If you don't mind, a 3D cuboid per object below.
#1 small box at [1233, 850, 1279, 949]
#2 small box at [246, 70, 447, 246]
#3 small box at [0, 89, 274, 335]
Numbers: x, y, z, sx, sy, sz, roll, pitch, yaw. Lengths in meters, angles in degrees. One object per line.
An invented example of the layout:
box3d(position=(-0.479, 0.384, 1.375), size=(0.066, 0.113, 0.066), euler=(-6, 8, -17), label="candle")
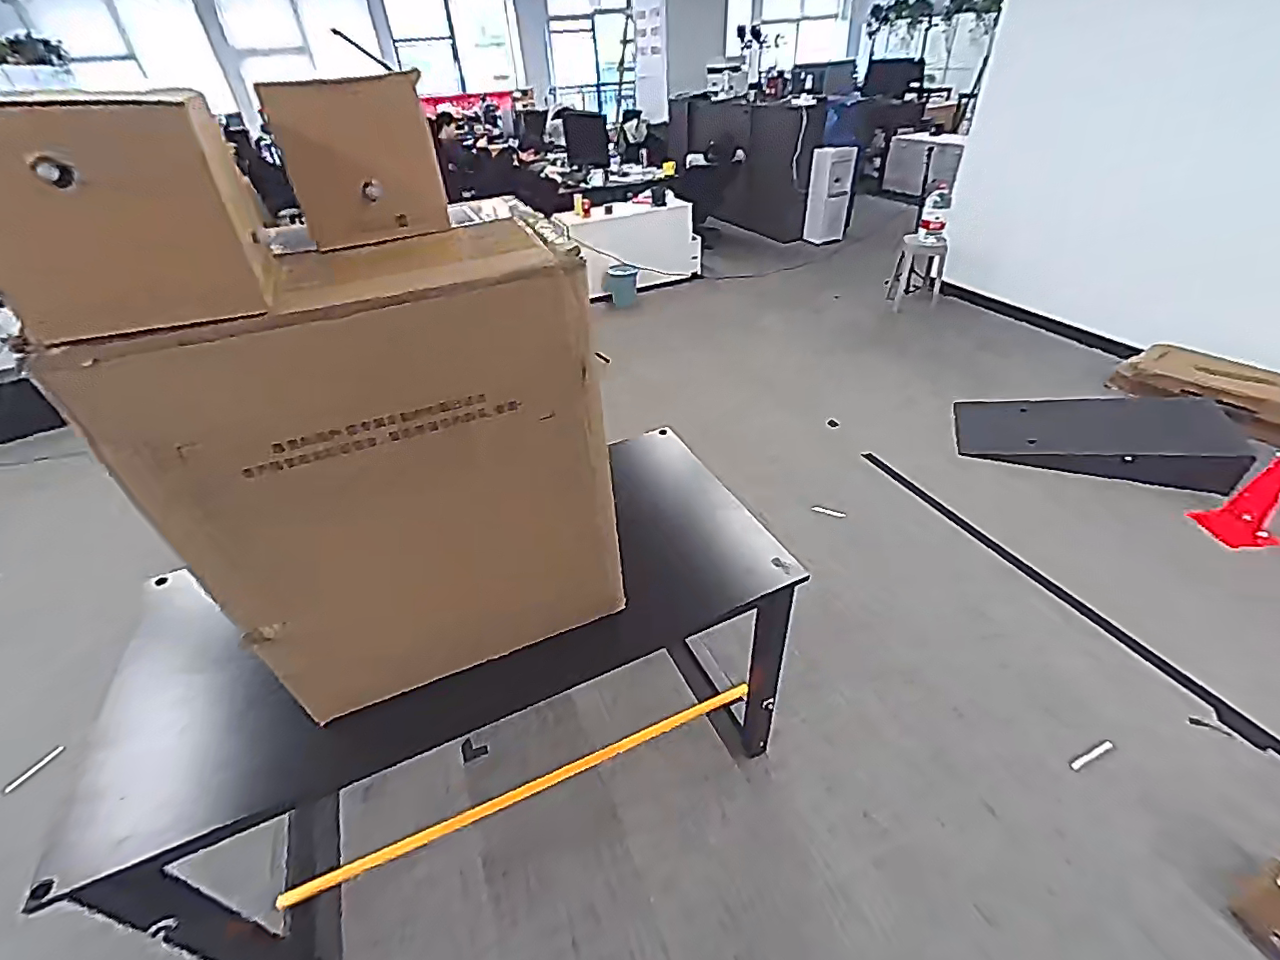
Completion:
box3d(position=(1.386, 0.871, 1.100), size=(0.179, 0.176, 0.168), euler=(-22, 41, -20), label="small box")
box3d(position=(-0.364, -0.409, 0.691), size=(0.168, 0.176, 0.179), euler=(-20, 39, -18), label="small box")
box3d(position=(-0.463, -0.242, 0.482), size=(0.179, 0.176, 0.168), euler=(-17, 41, -21), label="small box")
